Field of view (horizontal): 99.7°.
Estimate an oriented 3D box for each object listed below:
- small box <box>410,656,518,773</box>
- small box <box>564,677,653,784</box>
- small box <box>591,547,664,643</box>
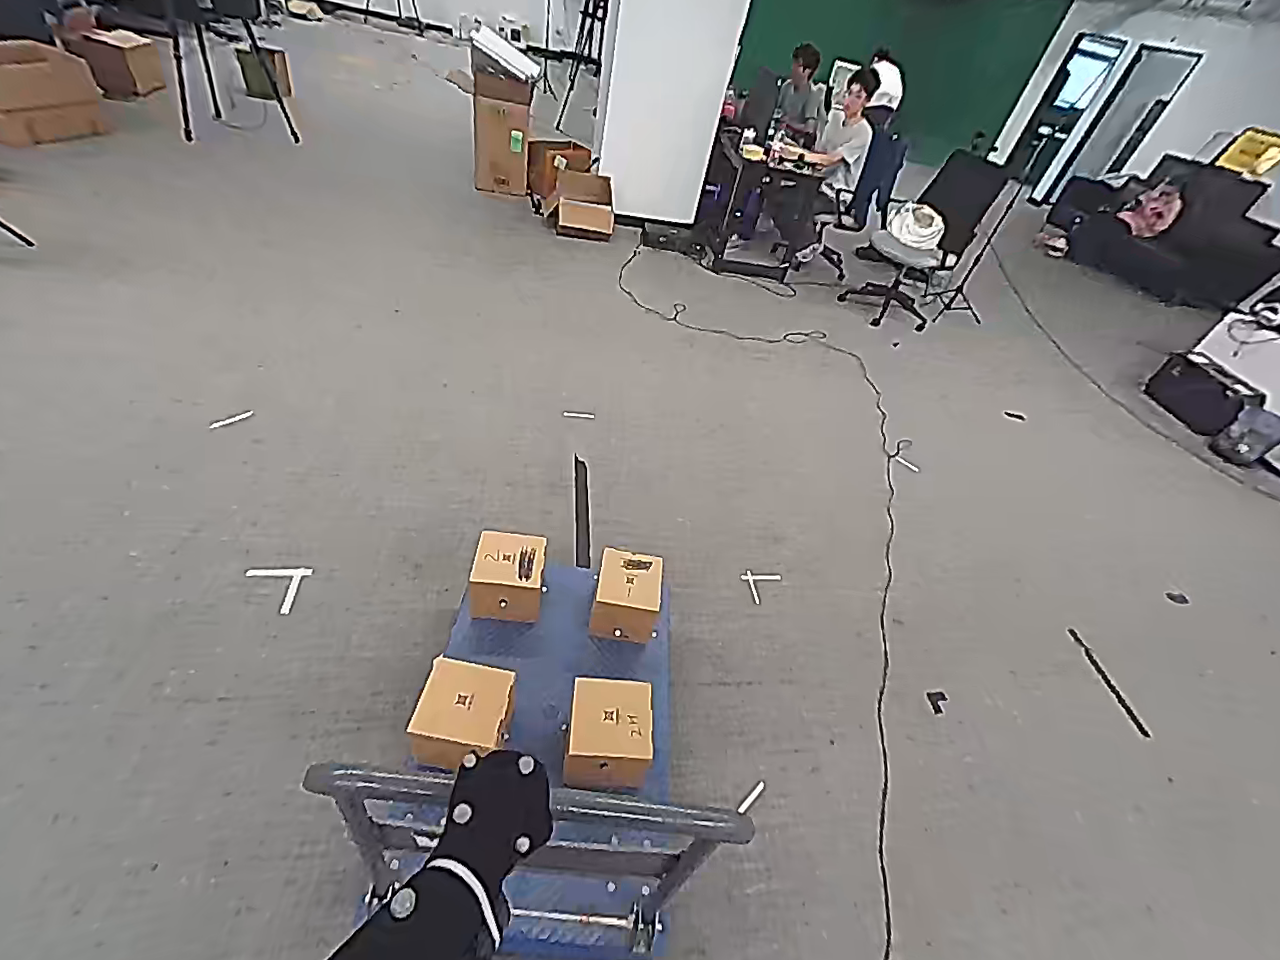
[{"bbox_3d":[-0.375,0.511,1.172,0.179,0.176,0.168,13,42,-4],"label":"small box"},{"bbox_3d":[-0.071,0.560,1.203,0.179,0.176,0.168,8,43,-7],"label":"small box"},{"bbox_3d":[-0.036,0.315,1.474,0.168,0.176,0.179,11,44,-4],"label":"small box"}]
